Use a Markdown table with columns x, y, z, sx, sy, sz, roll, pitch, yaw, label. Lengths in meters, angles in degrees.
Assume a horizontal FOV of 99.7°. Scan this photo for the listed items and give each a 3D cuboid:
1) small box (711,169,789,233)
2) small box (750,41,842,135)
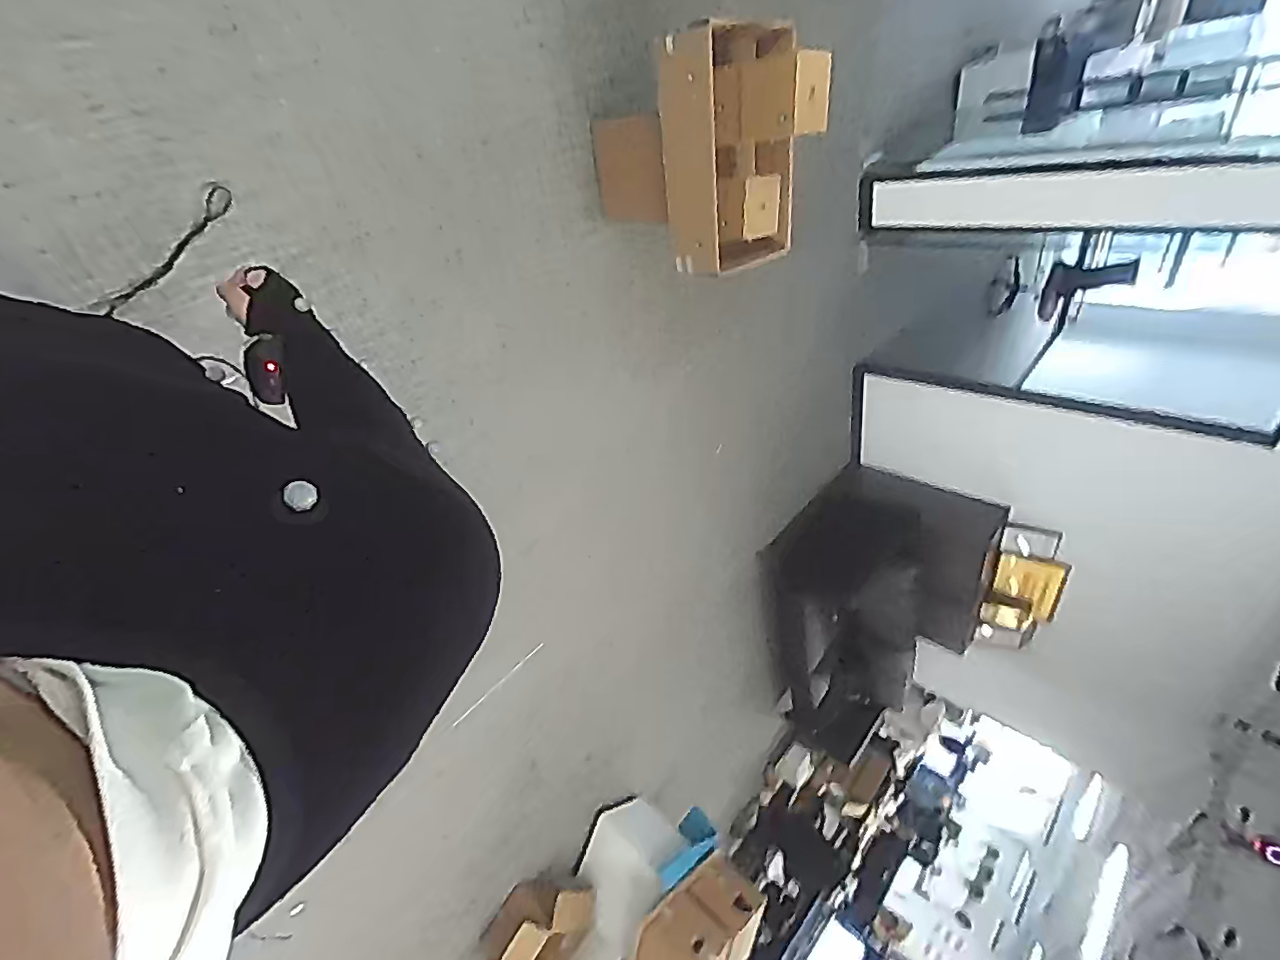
| x | y | z | sx | sy | sz | roll | pitch | yaw | label |
| --- | --- | --- | --- | --- | --- | --- | --- | --- | --- |
| 0.335 | -0.858 | 1.666 | 0.179 | 0.176 | 0.168 | -27 | 127 | -35 | small box |
| 0.403 | -1.016 | 1.409 | 0.168 | 0.176 | 0.179 | -30 | 130 | -33 | small box |
